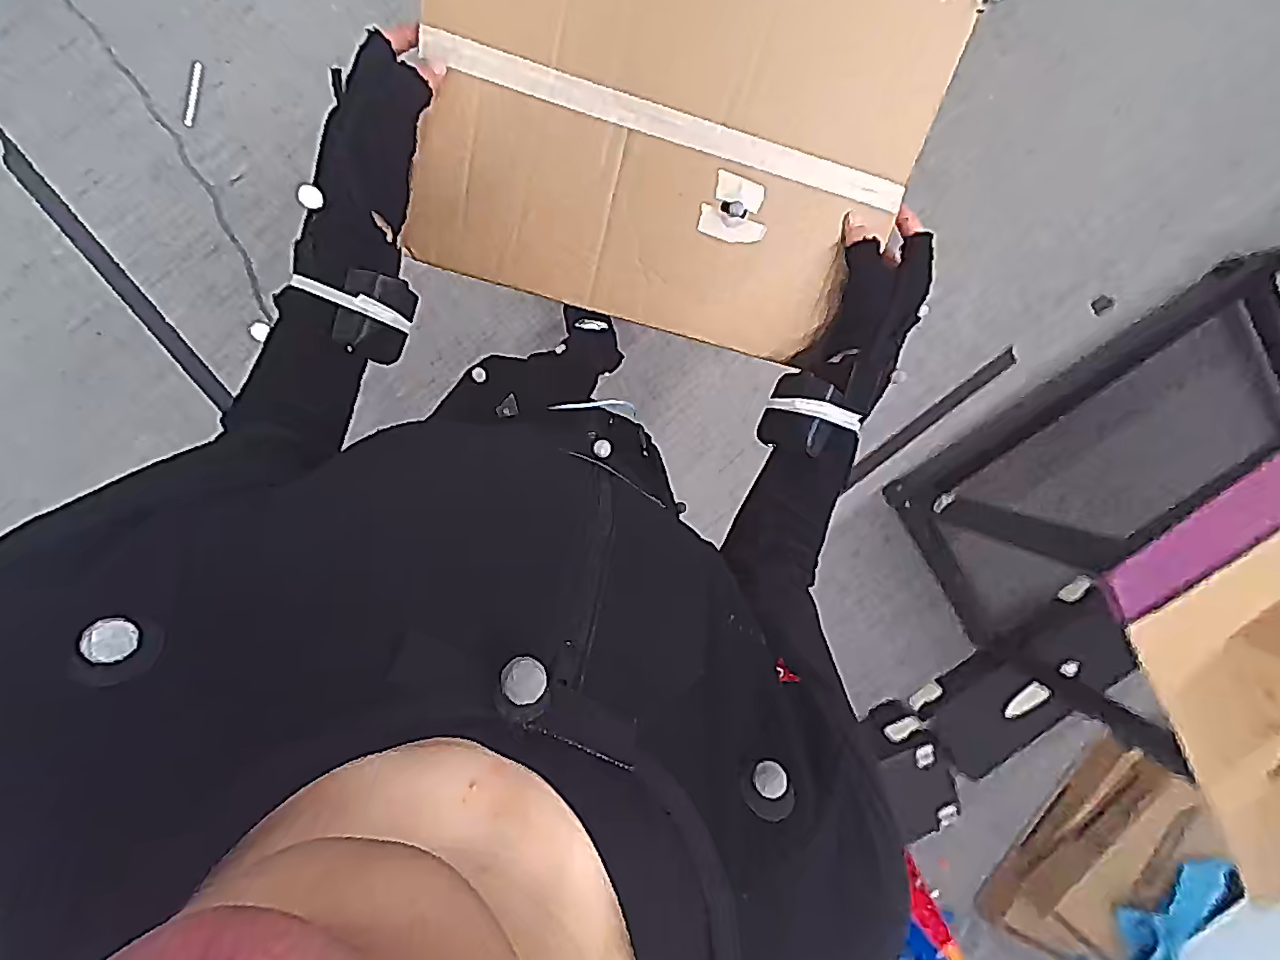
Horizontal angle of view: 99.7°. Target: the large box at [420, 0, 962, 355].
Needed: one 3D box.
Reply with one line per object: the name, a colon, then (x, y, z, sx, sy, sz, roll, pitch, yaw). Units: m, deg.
large box: (0.021, -0.359, 0.590, 0.408, 0.320, 0.320, 13, 114, -9)
